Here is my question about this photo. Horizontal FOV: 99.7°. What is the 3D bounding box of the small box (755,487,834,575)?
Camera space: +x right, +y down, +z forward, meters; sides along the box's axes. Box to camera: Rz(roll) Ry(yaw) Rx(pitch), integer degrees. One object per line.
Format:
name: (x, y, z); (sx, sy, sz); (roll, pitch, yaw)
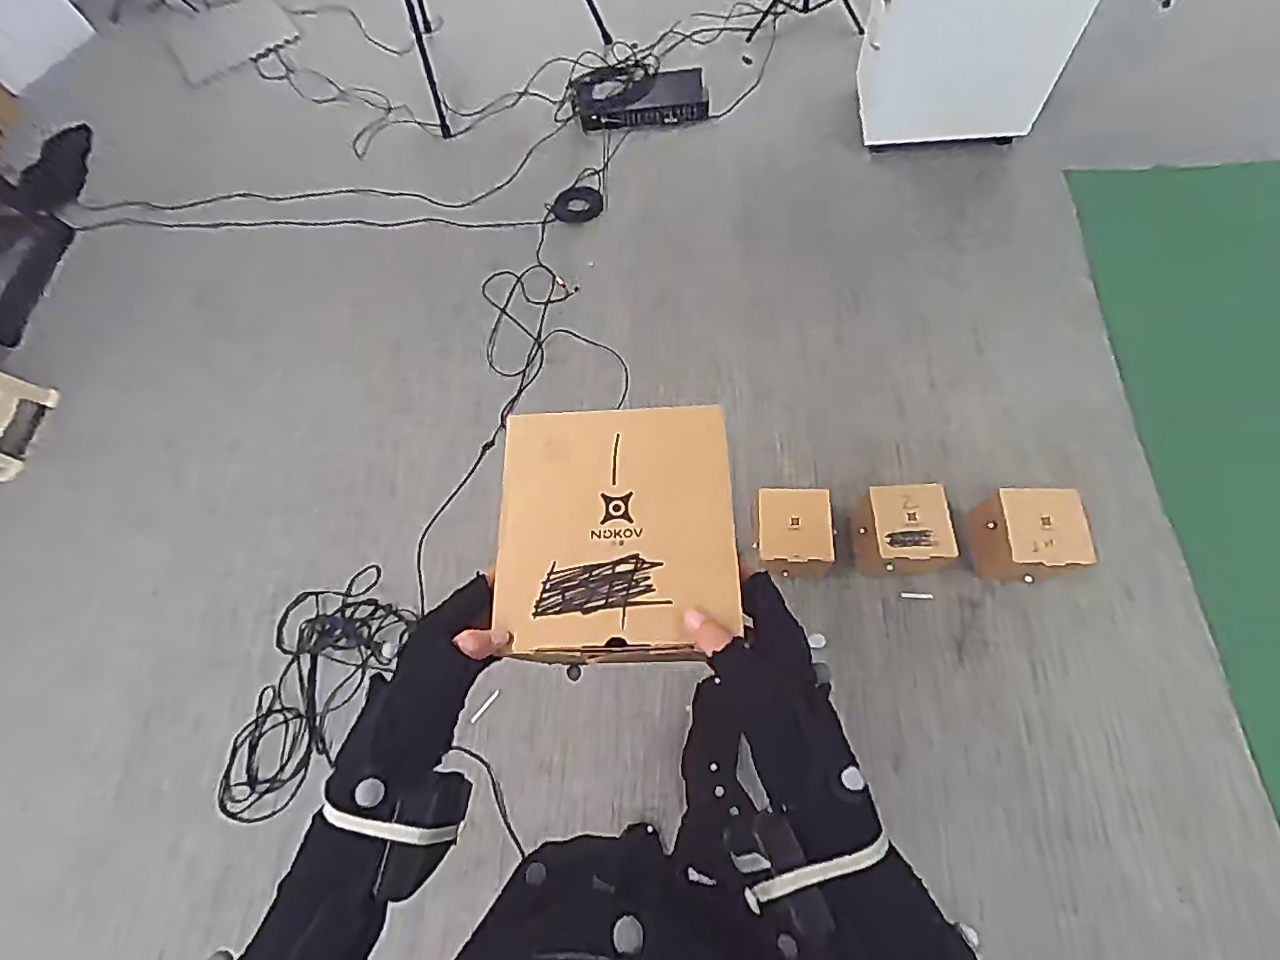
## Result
small box: (0.374, 0.128, 1.337); (0.168, 0.176, 0.179); (0, 68, 9)

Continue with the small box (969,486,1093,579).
small box: (0.899, 0.126, 1.264); (0.168, 0.176, 0.179); (0, 68, 9)
